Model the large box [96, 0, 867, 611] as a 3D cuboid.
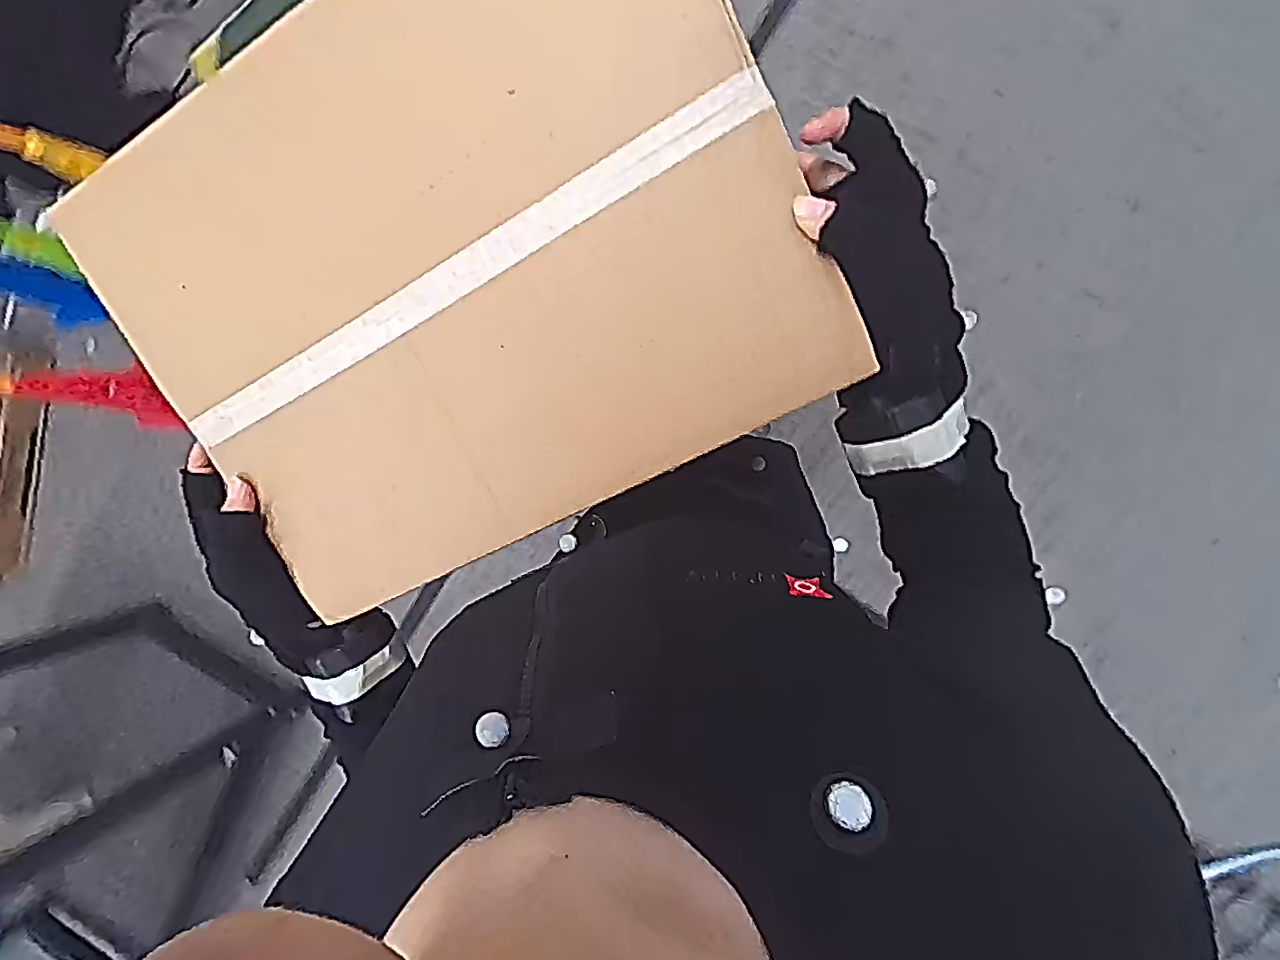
[{"bbox_3d":[-0.089,-0.155,0.469,0.408,0.320,0.320,-24,100,13],"label":"large box"}]
